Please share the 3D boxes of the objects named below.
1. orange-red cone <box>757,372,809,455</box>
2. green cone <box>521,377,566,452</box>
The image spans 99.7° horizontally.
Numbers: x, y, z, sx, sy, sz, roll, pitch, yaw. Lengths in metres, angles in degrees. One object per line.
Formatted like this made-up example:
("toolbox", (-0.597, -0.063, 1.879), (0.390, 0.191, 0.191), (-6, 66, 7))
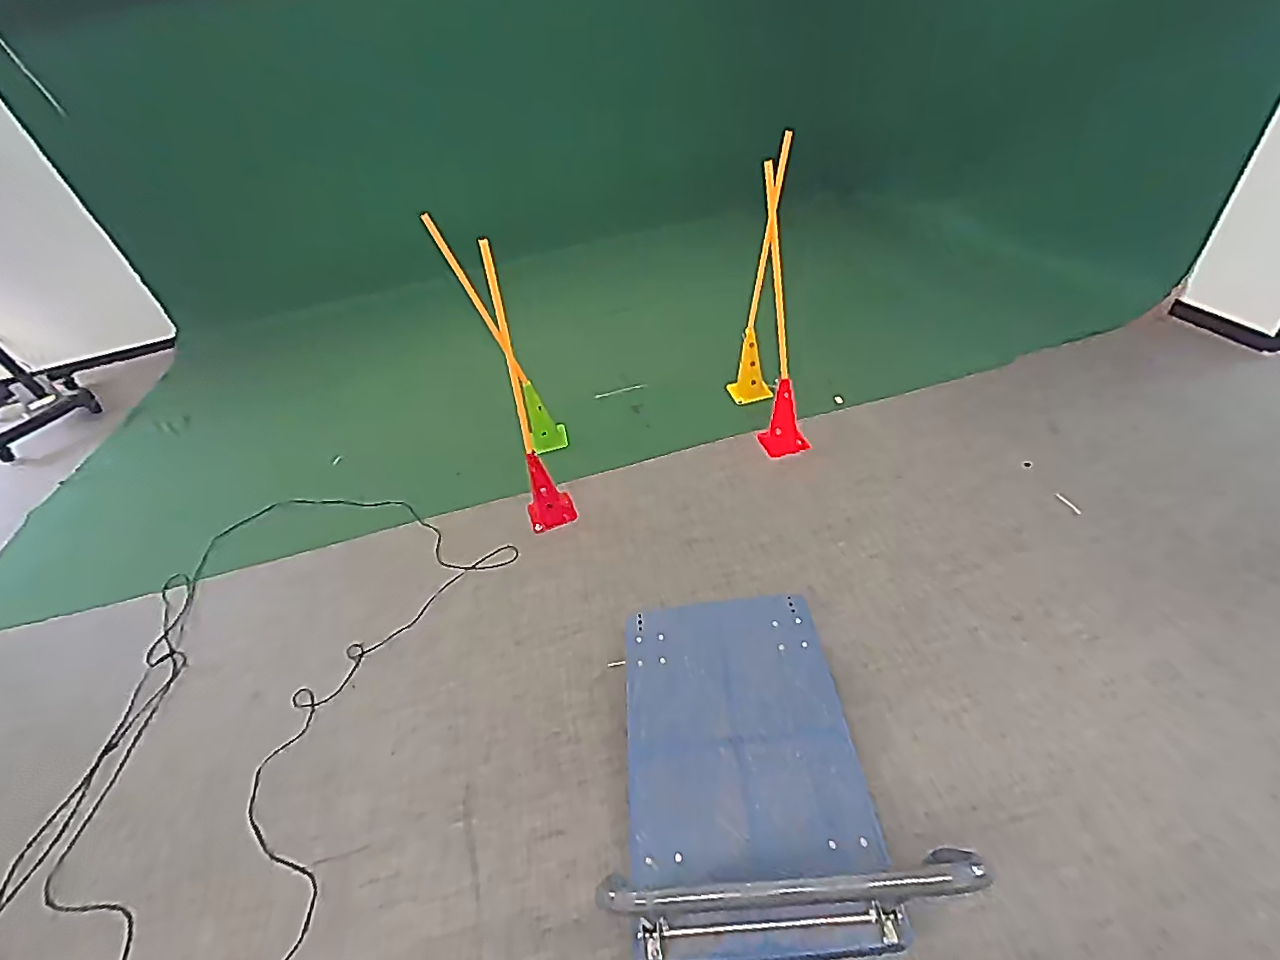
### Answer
("orange-red cone", (0.639, -0.317, 2.410), (0.198, 0.360, 0.199), (-14, 40, -4))
("green cone", (-0.515, -0.348, 2.699), (0.200, 0.368, 0.202), (-15, 41, -3))
